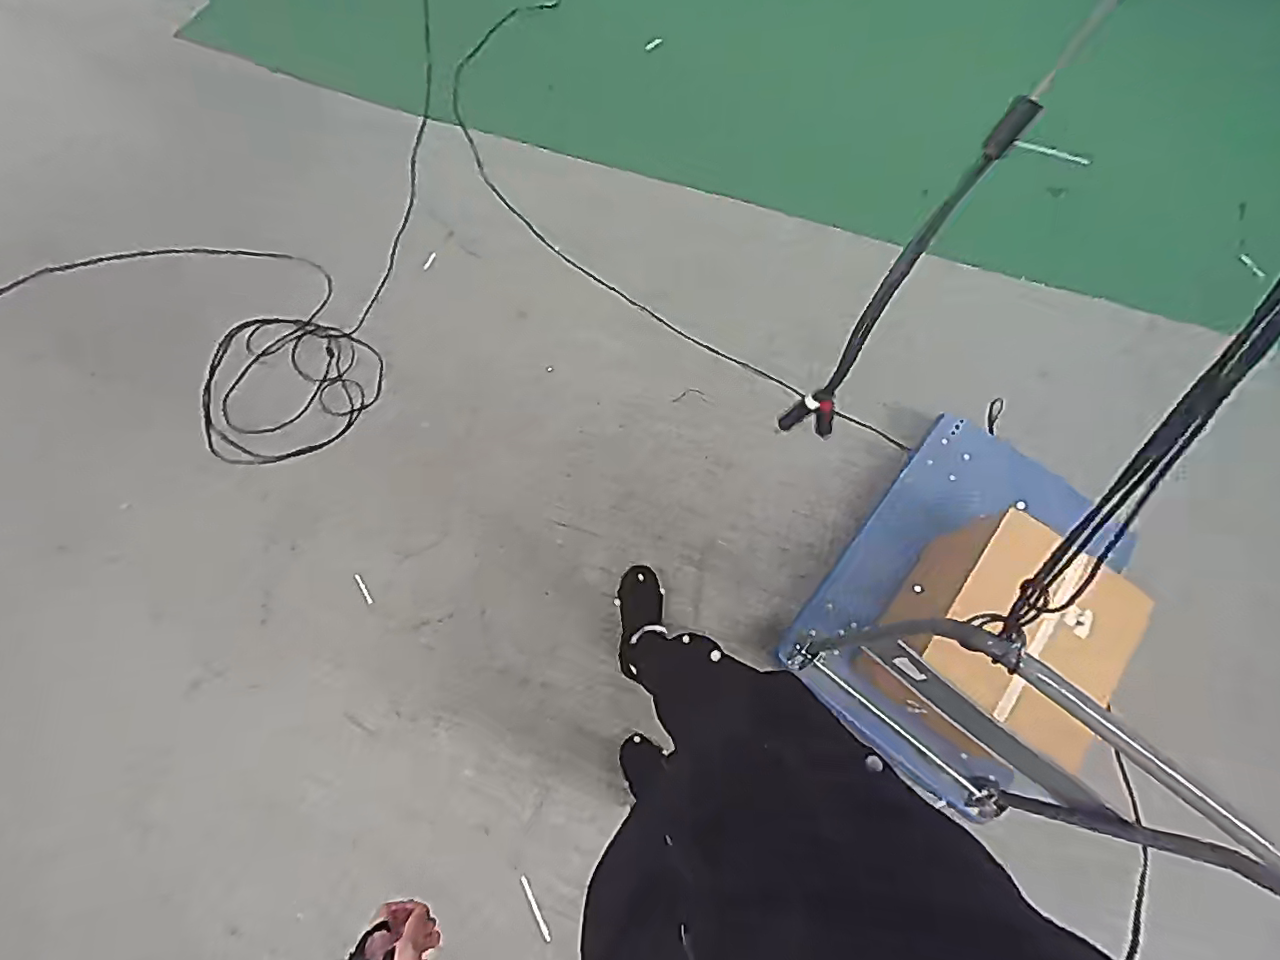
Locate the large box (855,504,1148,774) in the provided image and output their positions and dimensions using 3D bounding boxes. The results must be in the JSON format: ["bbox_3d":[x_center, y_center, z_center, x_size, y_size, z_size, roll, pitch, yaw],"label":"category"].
[{"bbox_3d":[0.742,0.333,1.160,0.320,0.320,0.408,38,73,10],"label":"large box"}]
